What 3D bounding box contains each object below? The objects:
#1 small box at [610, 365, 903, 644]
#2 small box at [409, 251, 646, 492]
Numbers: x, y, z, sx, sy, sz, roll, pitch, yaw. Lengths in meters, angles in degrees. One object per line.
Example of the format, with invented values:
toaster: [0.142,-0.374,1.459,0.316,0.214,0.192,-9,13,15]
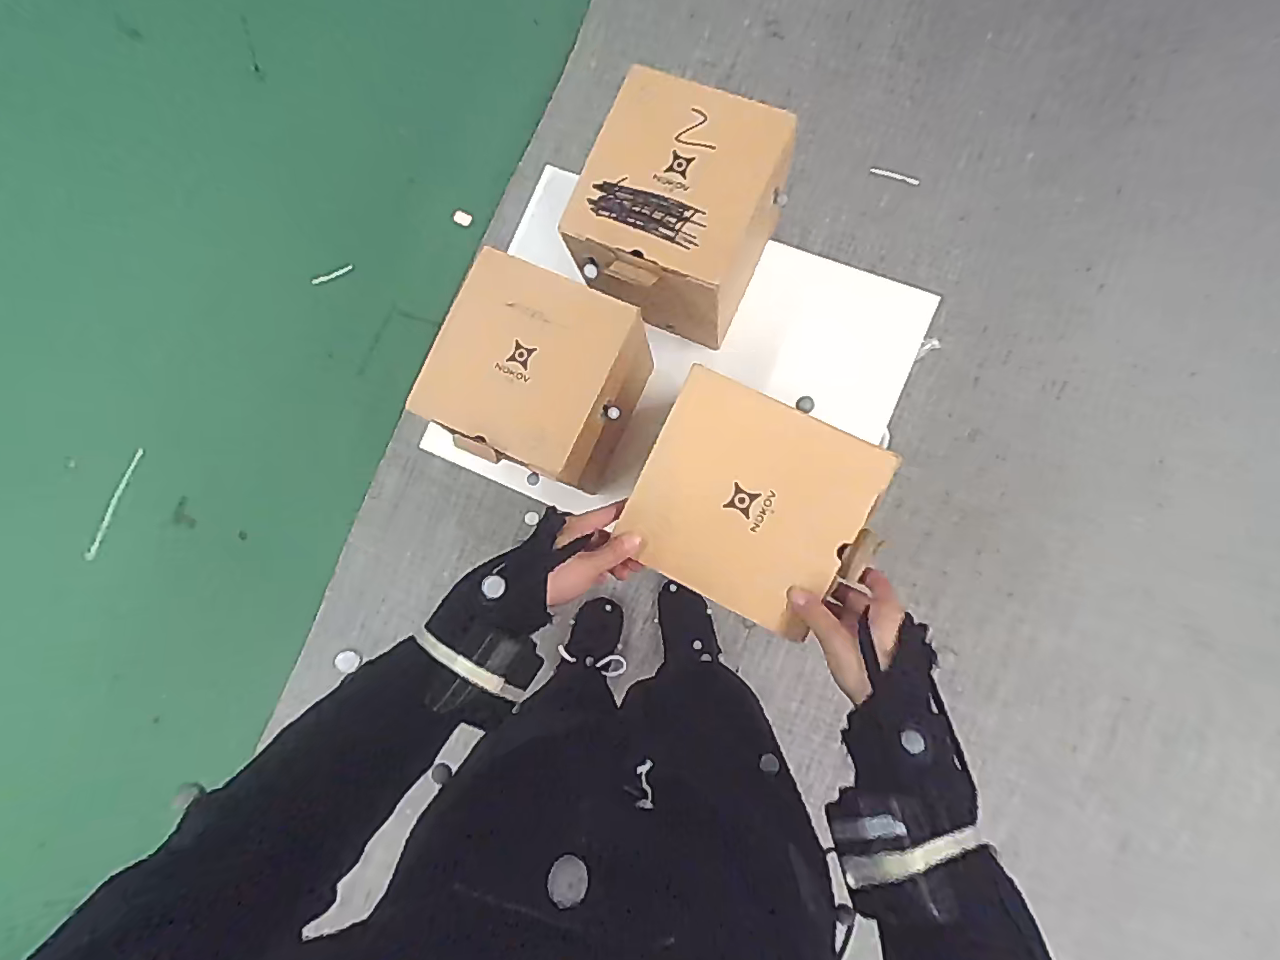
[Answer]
small box: [0.097,0.017,0.498,0.179,0.176,0.168,26,96,7]
small box: [-0.100,-0.099,0.576,0.168,0.176,0.179,24,85,8]
